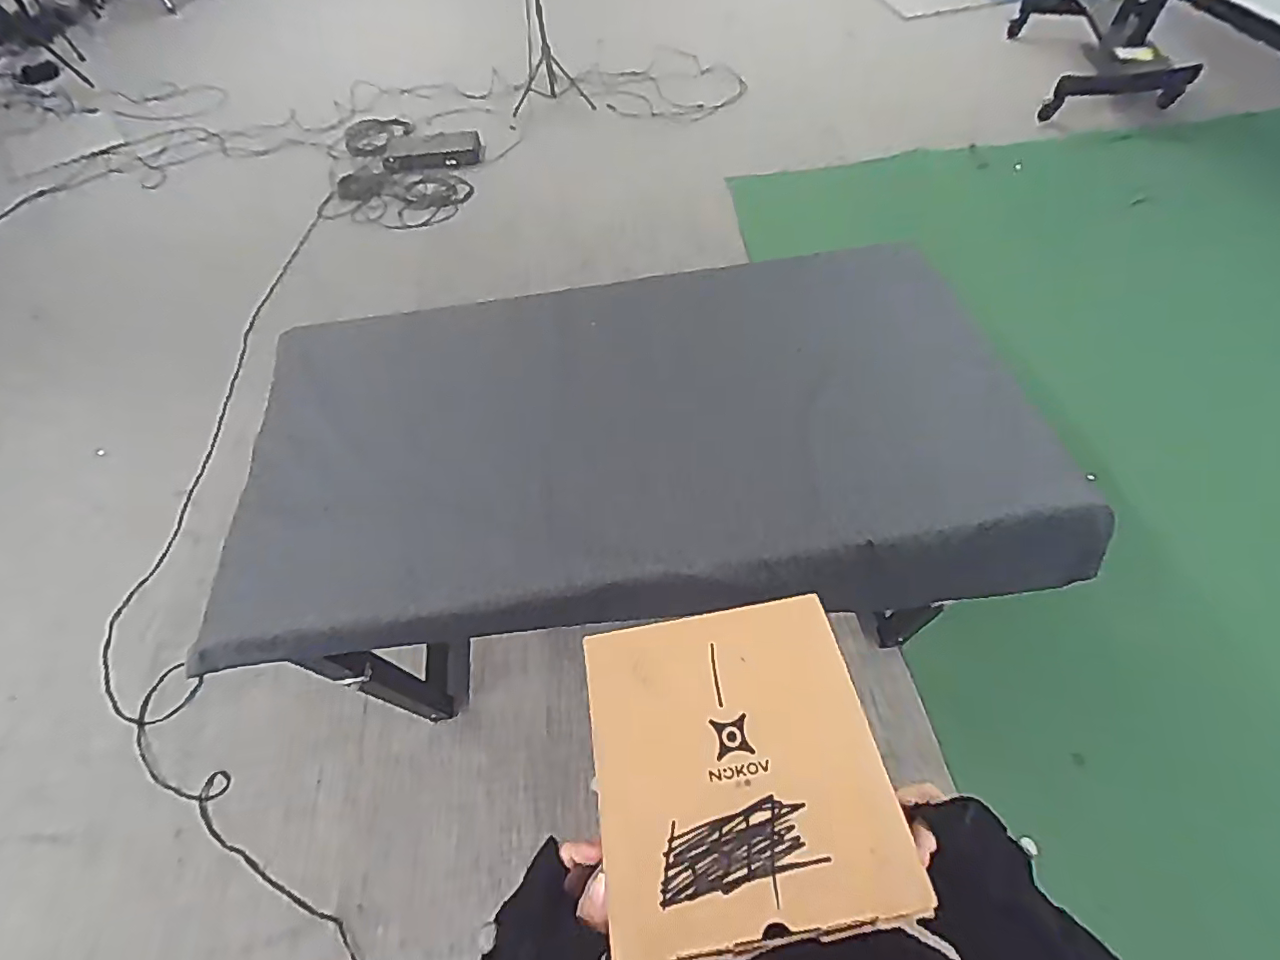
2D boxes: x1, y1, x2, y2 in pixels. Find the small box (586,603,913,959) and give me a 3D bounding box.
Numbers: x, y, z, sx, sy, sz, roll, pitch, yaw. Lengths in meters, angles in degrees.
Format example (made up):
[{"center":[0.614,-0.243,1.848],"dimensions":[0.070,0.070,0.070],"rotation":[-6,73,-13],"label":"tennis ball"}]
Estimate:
[{"center":[0.060,0.214,0.391],"dimensions":[0.168,0.176,0.179],"rotation":[-9,52,-1],"label":"small box"}]
